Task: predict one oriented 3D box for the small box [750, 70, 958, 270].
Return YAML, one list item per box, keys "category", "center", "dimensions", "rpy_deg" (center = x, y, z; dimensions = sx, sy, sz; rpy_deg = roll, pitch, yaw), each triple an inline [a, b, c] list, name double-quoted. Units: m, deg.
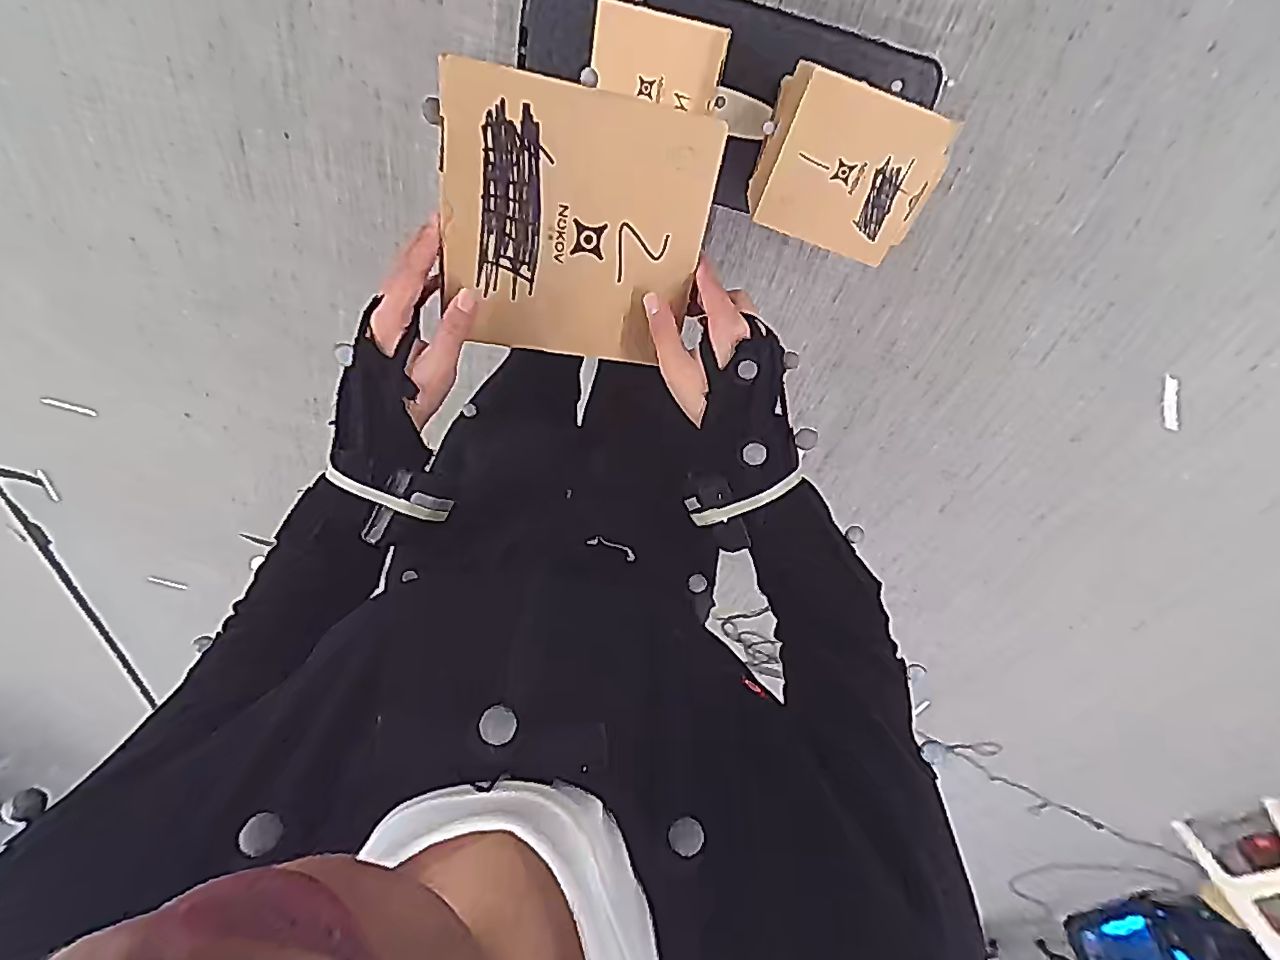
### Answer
- category: "small box"
  center: [0.255, -0.402, 0.694]
  dimensions: [0.179, 0.176, 0.168]
  rpy_deg: [18, 129, -5]
